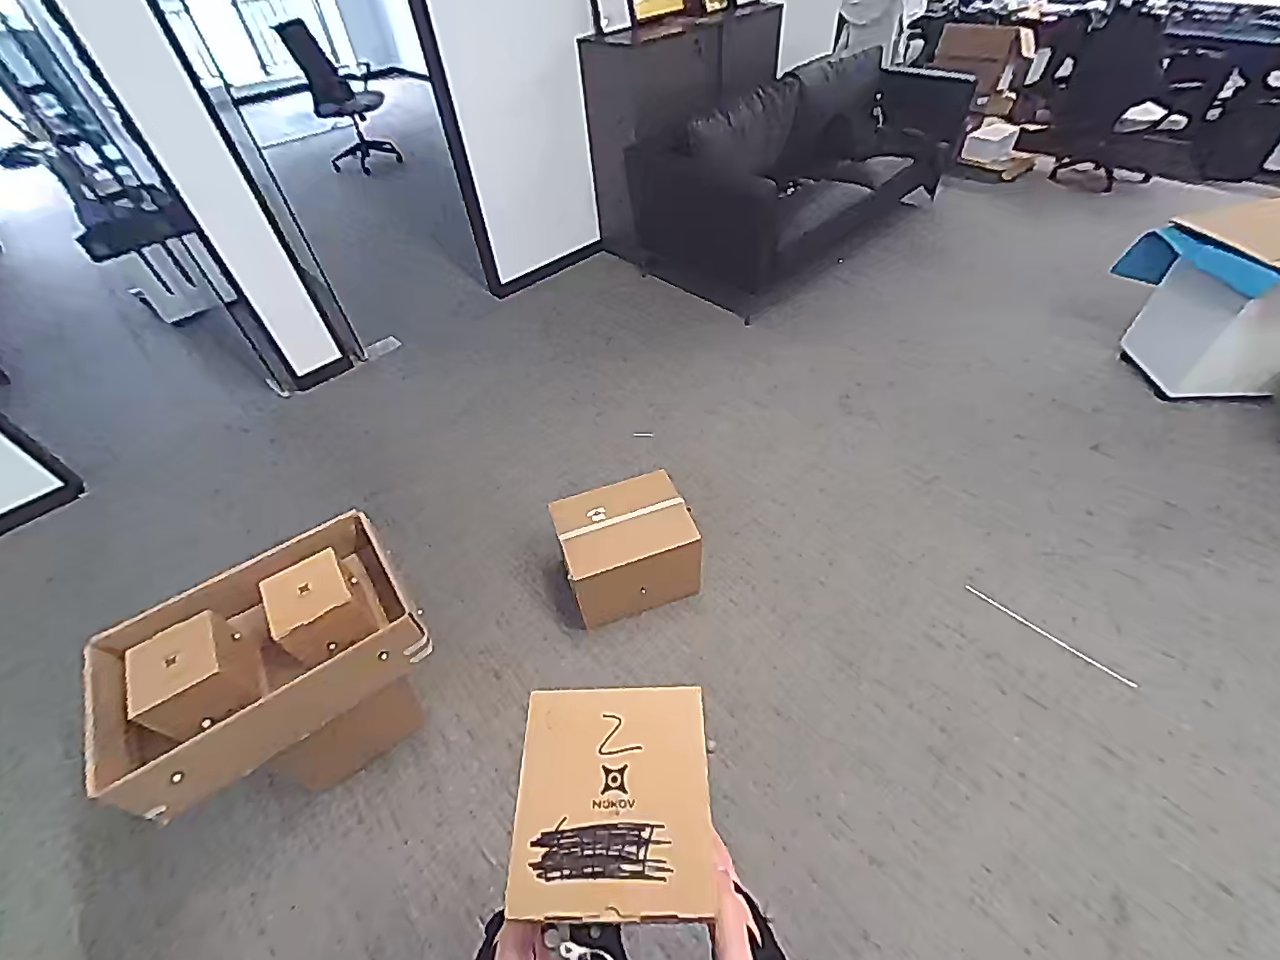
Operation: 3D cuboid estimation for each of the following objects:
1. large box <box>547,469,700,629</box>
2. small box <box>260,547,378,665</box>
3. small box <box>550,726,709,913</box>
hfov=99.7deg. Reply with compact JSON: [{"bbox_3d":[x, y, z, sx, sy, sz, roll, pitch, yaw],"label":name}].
[{"bbox_3d":[-0.048,0.225,1.765,0.408,0.320,0.320,-18,49,-10],"label":"large box"},{"bbox_3d":[-0.750,0.299,1.274,0.168,0.176,0.179,-29,54,-21],"label":"small box"},{"bbox_3d":[-0.004,0.414,0.656,0.168,0.176,0.179,-2,50,2],"label":"small box"}]
